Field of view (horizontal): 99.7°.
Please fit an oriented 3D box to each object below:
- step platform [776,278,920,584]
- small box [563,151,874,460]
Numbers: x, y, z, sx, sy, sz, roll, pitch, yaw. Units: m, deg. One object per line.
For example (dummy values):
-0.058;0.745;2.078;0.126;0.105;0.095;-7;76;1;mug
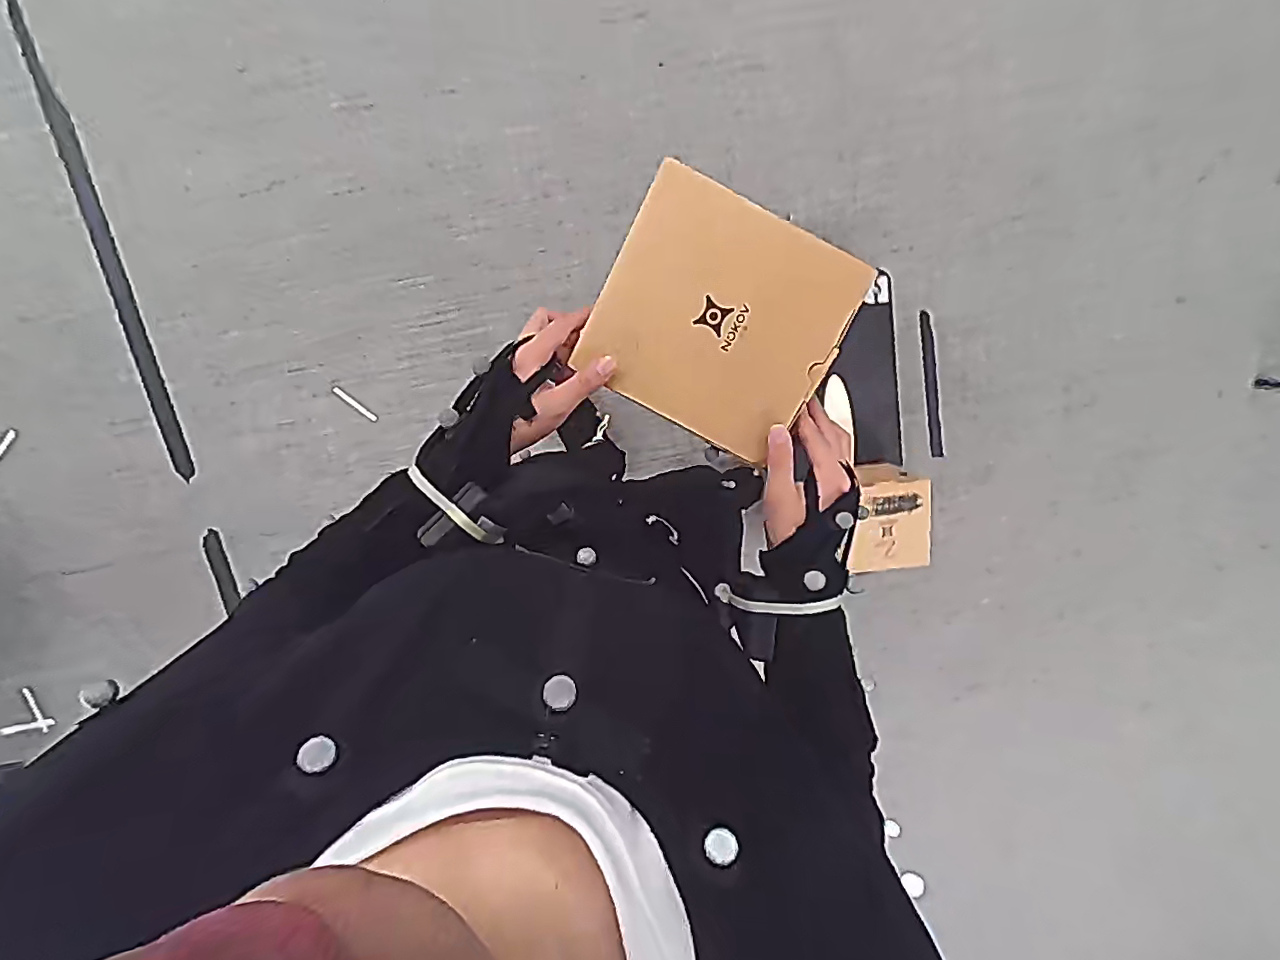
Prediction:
0.449;-0.102;1.247;0.286;0.204;0.684;-10;101;0;step platform
0.056;-0.135;0.471;0.179;0.176;0.168;27;100;-3;small box
